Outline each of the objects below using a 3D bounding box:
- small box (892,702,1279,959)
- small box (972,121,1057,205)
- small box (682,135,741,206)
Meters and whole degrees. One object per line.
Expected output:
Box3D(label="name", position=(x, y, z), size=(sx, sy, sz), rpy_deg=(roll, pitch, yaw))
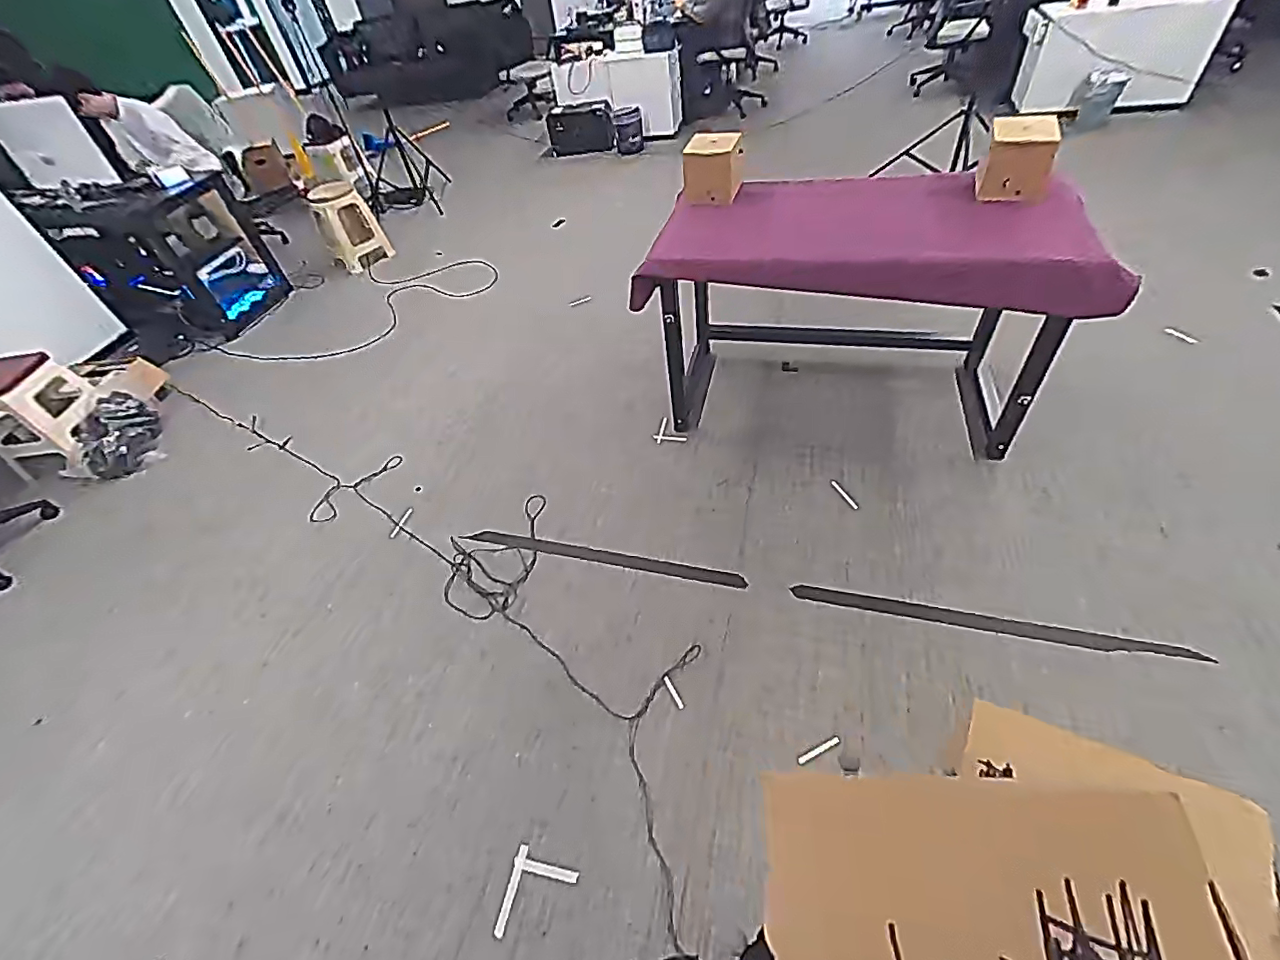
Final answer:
Box3D(label="small box", position=(0.318, 0.311, 0.416), size=(0.179, 0.176, 0.168), rpy_deg=(18, 53, 26))
Box3D(label="small box", position=(1.123, -0.959, 1.634), size=(0.168, 0.176, 0.179), rpy_deg=(10, 55, 18))
Box3D(label="small box", position=(0.250, -1.079, 1.885), size=(0.168, 0.176, 0.179), rpy_deg=(10, 52, 18))
